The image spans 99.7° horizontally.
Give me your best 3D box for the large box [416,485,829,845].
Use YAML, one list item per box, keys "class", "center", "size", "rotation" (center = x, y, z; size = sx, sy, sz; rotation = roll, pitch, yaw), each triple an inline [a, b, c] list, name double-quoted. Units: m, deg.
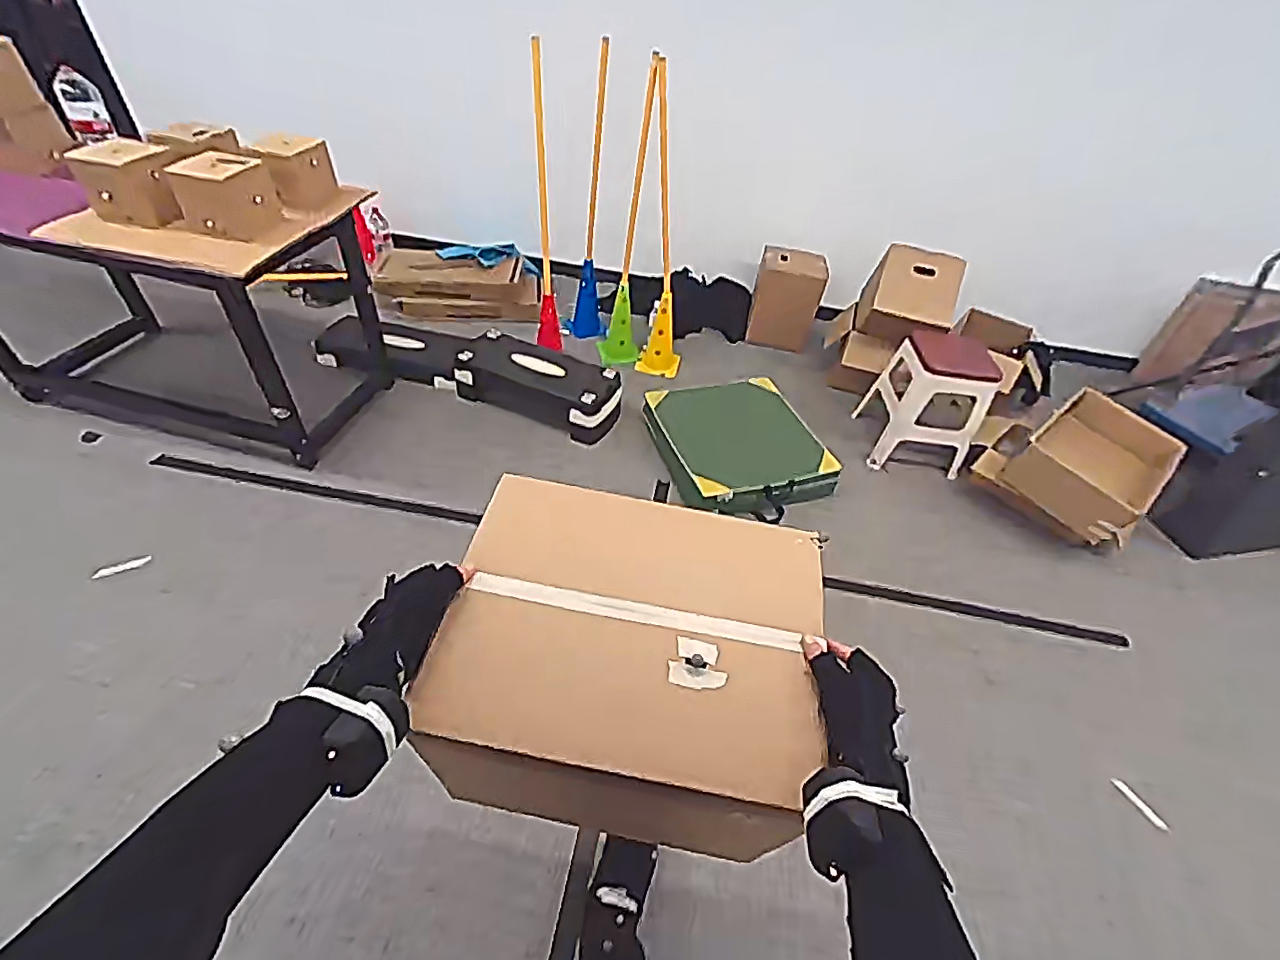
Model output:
- class: "large box"
  center: [-0.015, 0.246, 0.713]
  size: [0.408, 0.320, 0.320]
  rotation: [10, 49, 2]
